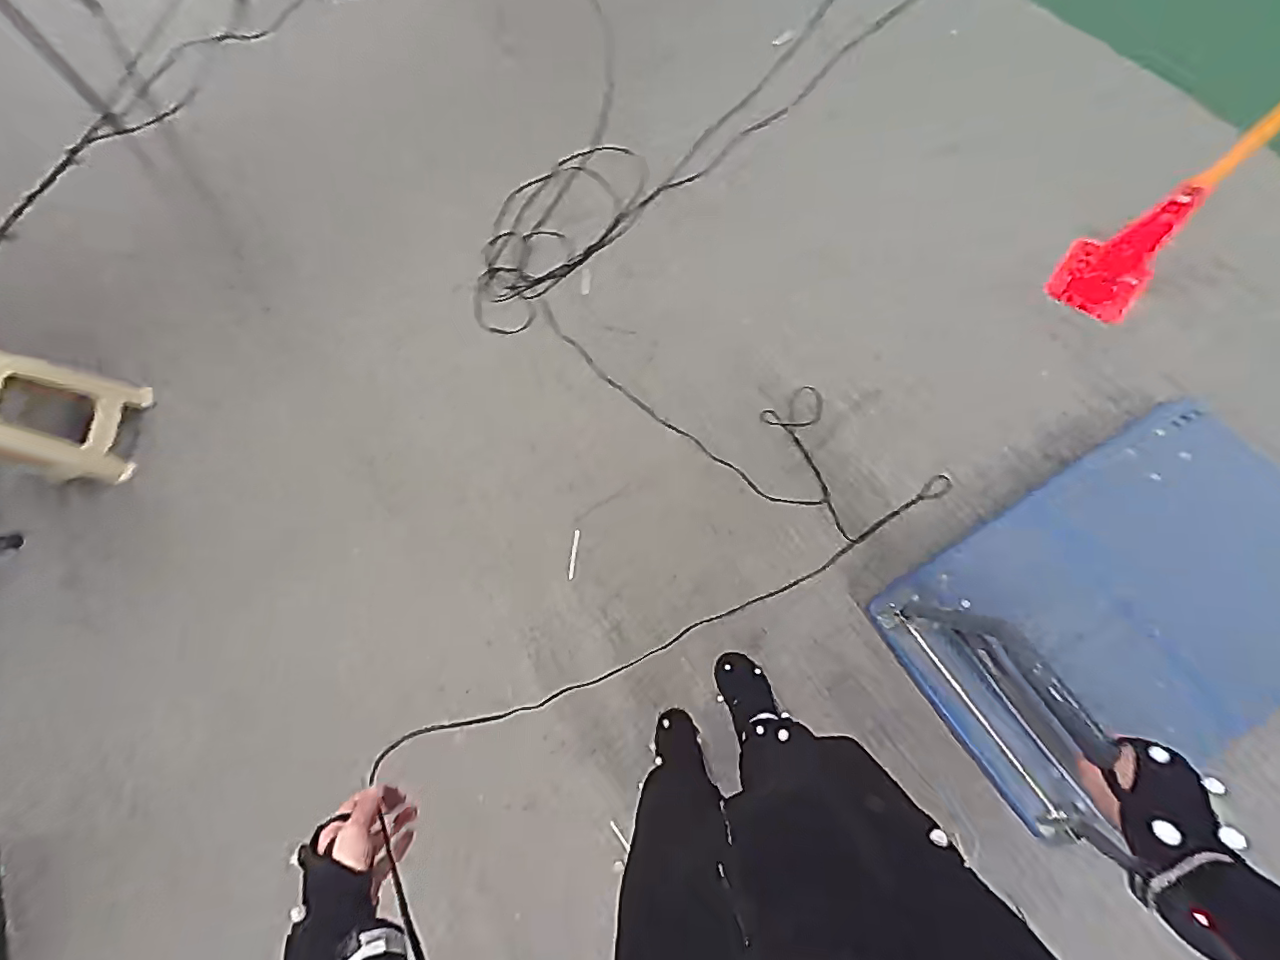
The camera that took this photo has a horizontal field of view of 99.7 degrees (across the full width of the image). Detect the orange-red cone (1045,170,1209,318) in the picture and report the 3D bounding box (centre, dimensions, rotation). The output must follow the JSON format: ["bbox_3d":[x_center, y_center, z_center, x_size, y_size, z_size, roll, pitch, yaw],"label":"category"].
[{"bbox_3d":[1.207,-0.594,1.306,0.199,0.360,0.198,37,85,17],"label":"orange-red cone"}]
